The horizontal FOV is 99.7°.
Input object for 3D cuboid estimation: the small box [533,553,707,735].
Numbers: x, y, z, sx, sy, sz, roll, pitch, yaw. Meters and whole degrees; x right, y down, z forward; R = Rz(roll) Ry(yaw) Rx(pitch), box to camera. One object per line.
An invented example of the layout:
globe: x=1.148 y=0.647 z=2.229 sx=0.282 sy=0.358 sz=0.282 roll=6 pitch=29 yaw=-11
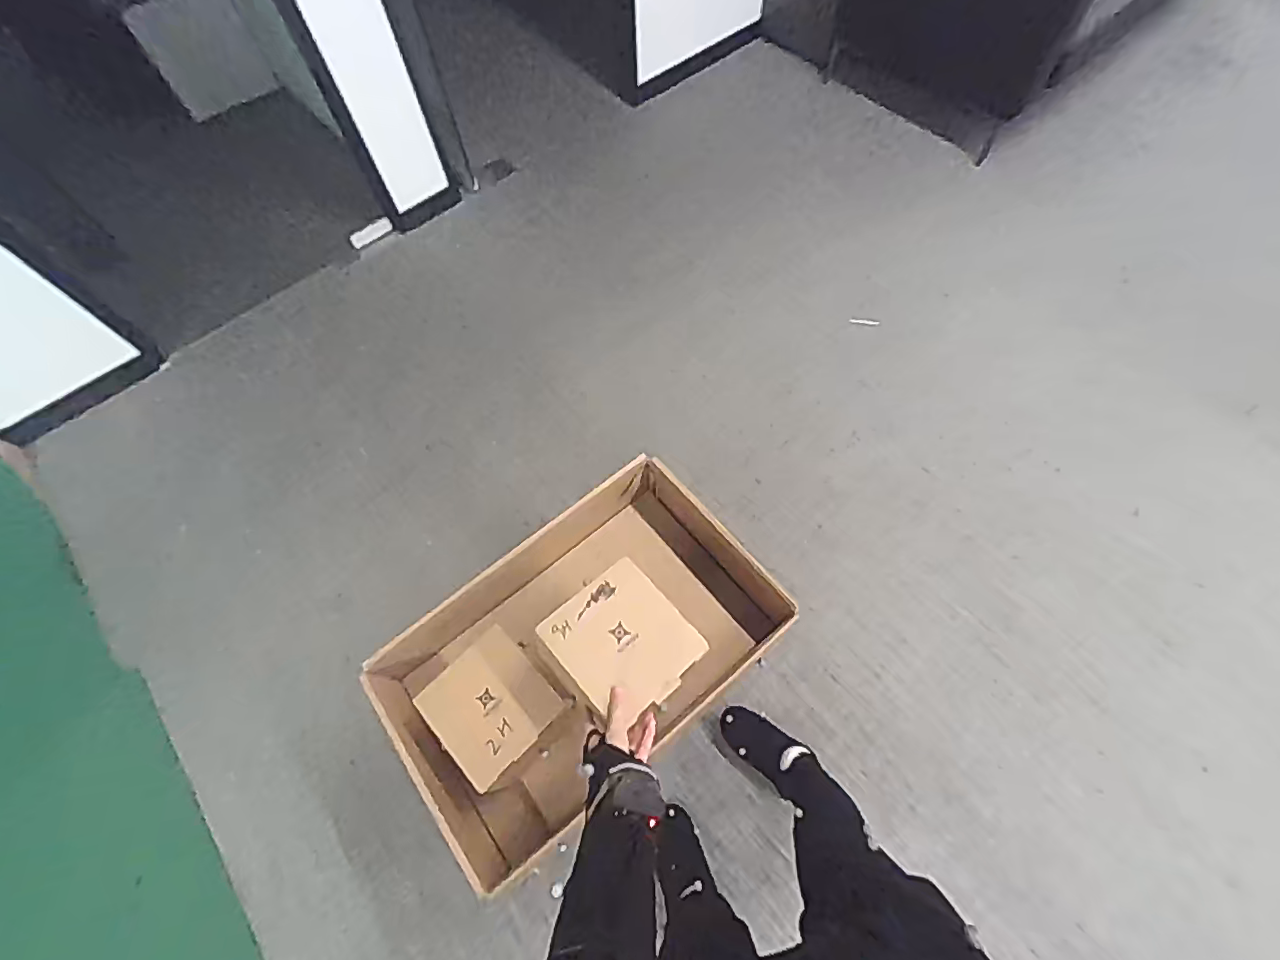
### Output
small box: x=-0.035 y=0.243 z=0.779 sx=0.168 sy=0.176 sz=0.179 roll=-35 pitch=70 yaw=-25

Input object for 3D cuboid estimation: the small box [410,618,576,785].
small box: x=-0.225 y=0.355 z=0.868 sx=0.168 sy=0.176 sz=0.179 roll=-41 pitch=70 yaw=-15
